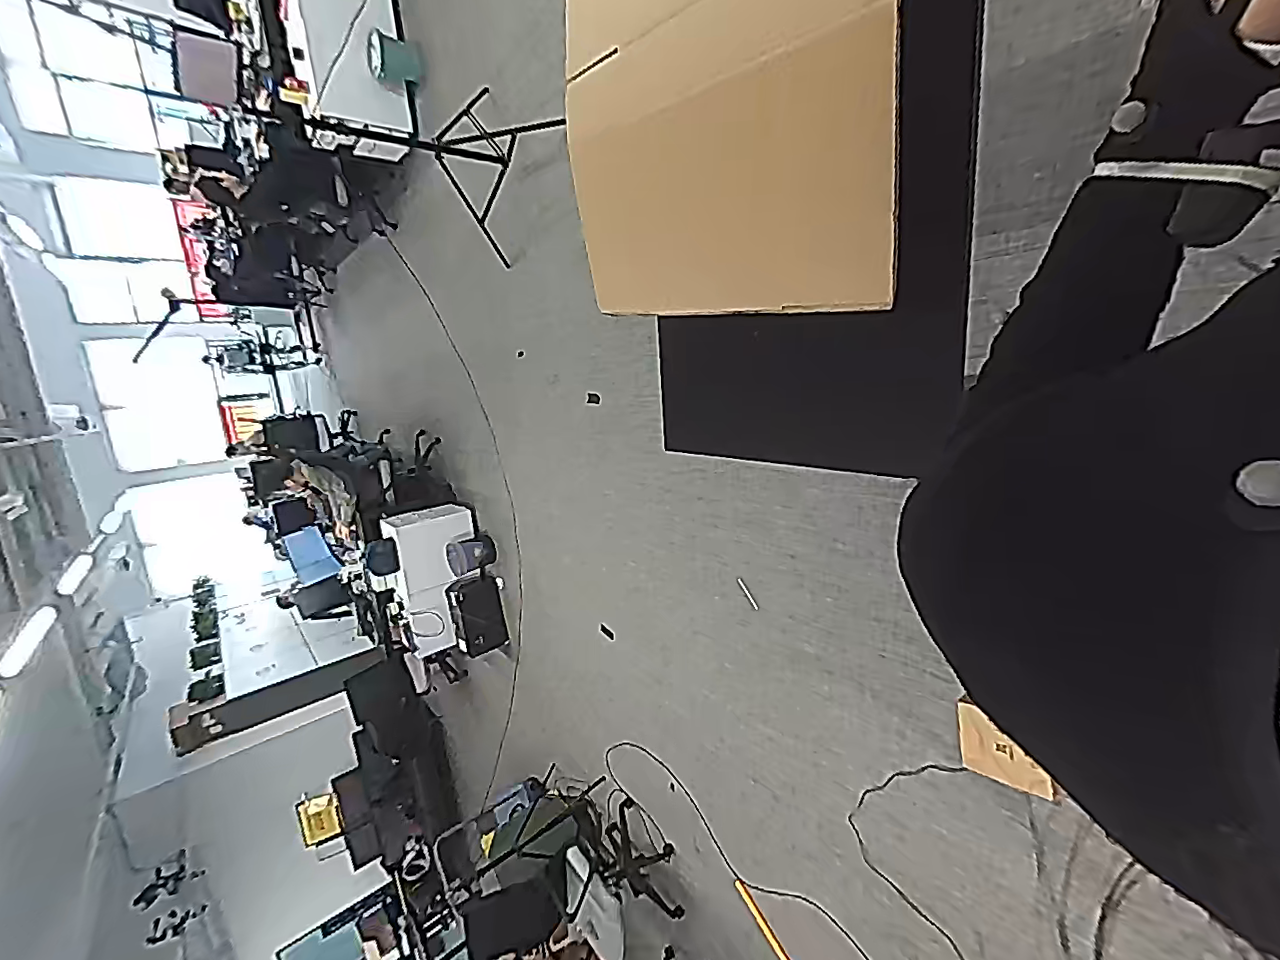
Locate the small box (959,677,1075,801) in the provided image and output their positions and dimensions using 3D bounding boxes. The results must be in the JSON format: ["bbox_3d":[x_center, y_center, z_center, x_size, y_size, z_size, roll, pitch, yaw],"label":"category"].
[{"bbox_3d":[0.849,0.566,1.213,0.179,0.176,0.168,0,100,53],"label":"small box"}]
